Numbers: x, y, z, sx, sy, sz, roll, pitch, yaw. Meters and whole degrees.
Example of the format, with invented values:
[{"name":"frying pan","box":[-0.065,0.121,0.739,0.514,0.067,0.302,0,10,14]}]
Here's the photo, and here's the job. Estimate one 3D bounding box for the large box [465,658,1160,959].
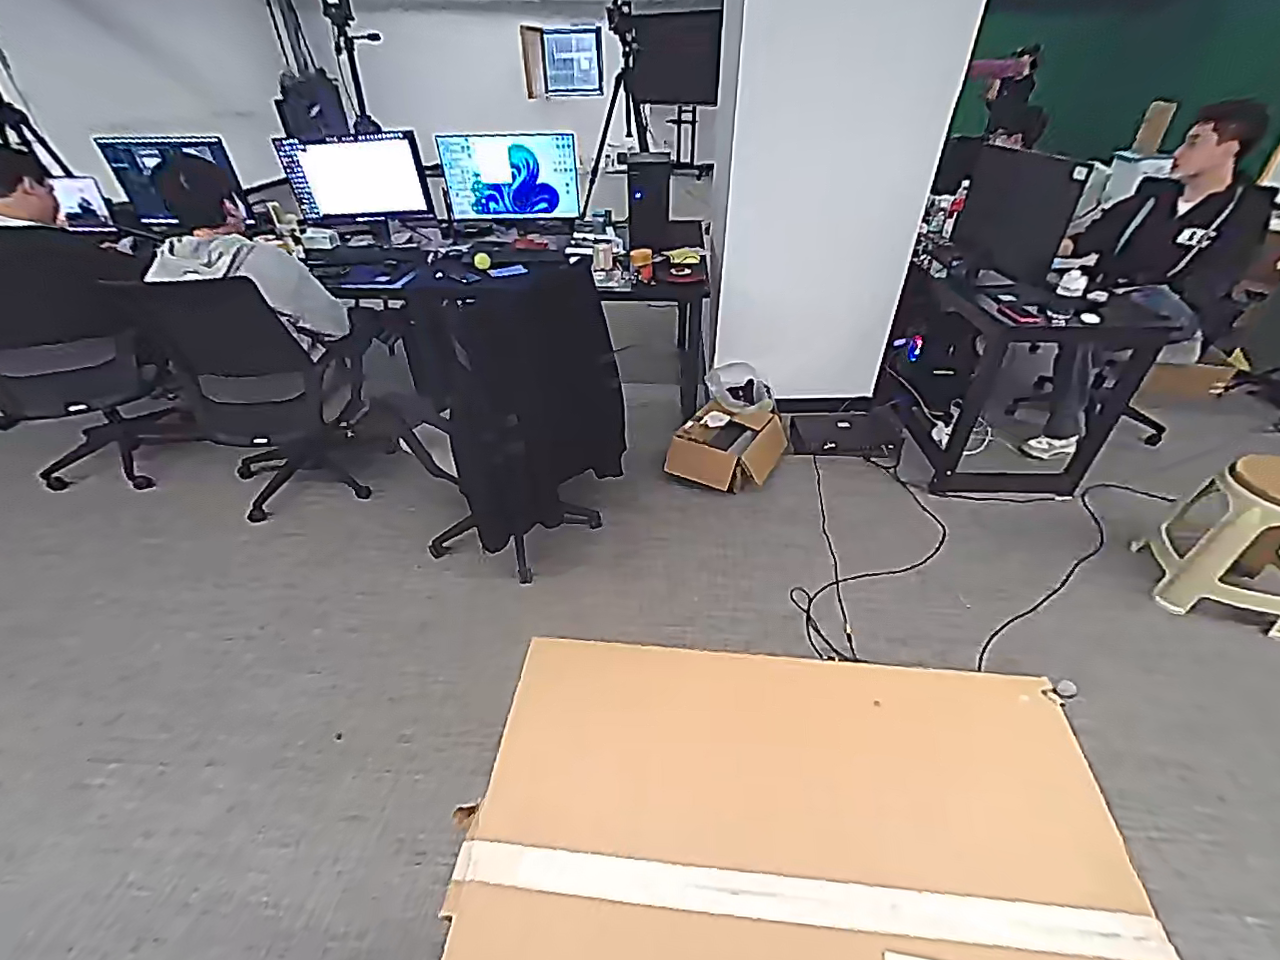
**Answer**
[{"name":"large box","box":[0.100,0.368,0.428,0.408,0.320,0.320,3,45,5]}]
